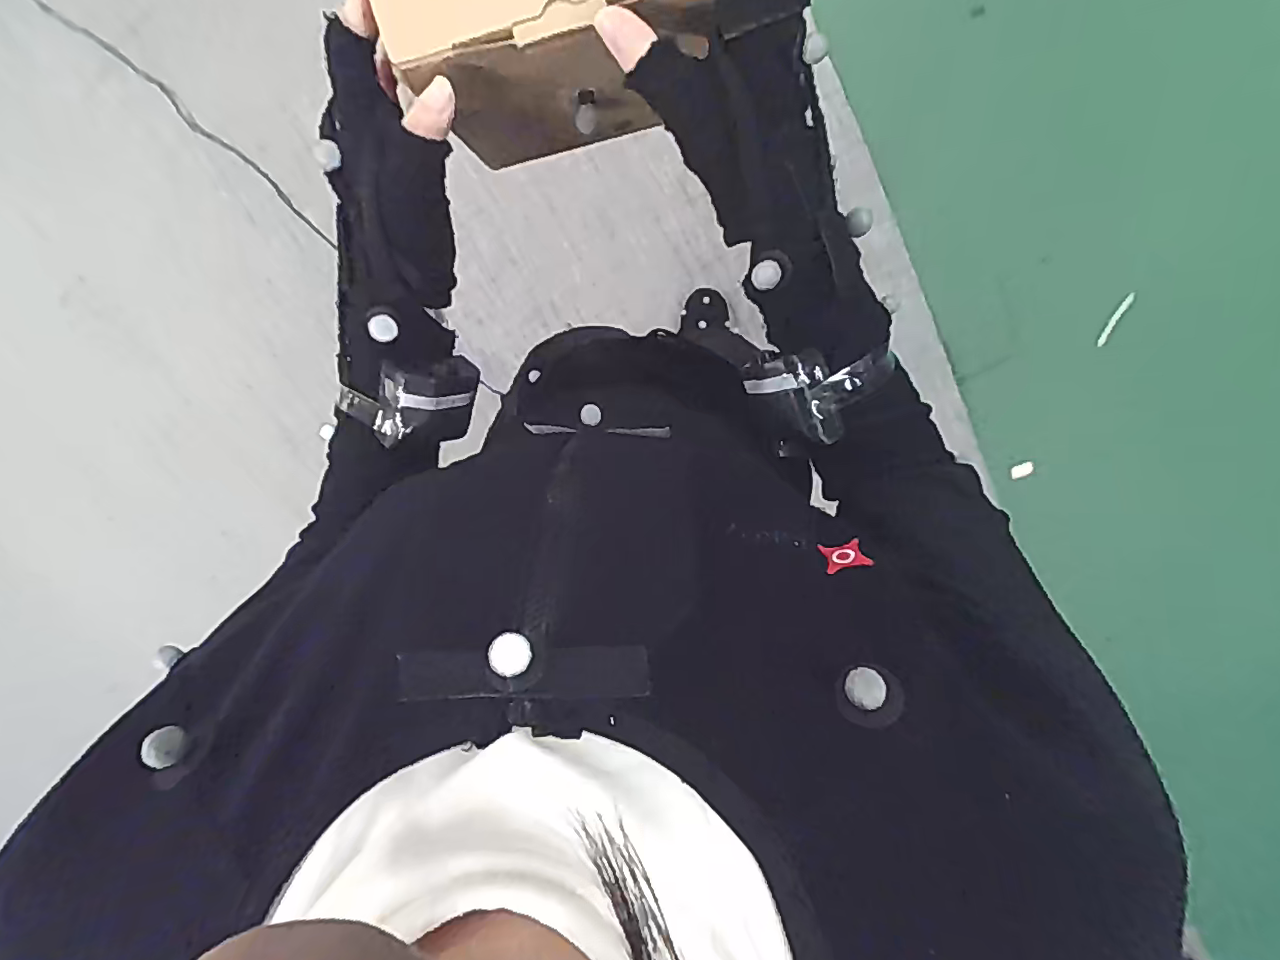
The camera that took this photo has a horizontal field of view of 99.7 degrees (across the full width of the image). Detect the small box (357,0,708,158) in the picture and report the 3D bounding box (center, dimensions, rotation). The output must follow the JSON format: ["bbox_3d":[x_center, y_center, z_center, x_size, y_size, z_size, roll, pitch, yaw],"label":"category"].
[{"bbox_3d":[-0.058,-0.304,0.300,0.168,0.176,0.179,-13,105,5],"label":"small box"}]
